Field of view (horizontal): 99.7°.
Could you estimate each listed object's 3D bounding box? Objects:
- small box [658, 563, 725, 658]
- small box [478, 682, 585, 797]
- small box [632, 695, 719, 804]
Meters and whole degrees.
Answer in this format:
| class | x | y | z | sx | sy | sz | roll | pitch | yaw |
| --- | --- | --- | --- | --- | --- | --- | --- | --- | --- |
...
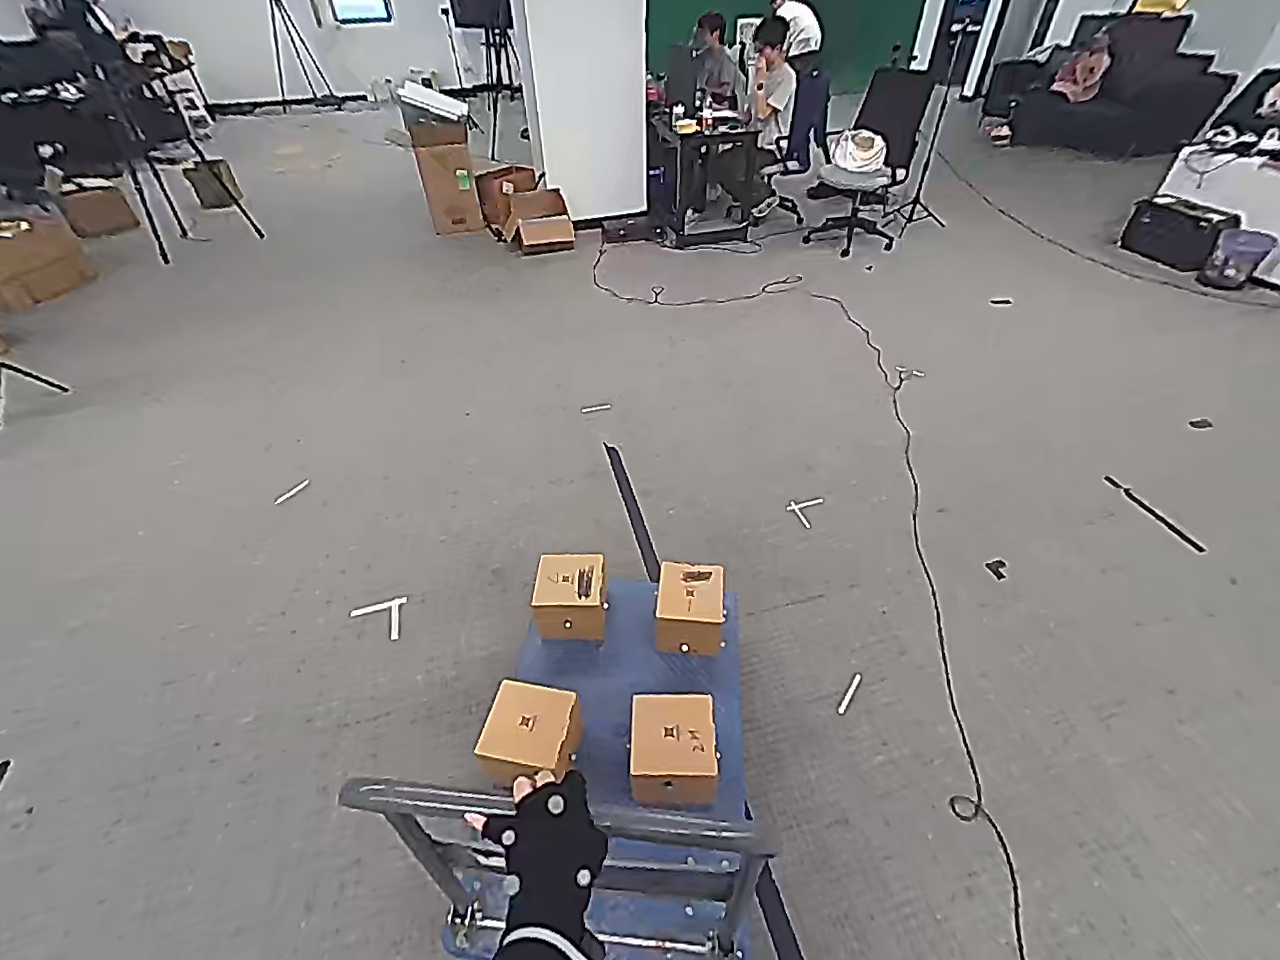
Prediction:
| class | x | y | z | sx | sy | sz | roll | pitch | yaw |
| --- | --- | --- | --- | --- | --- | --- | --- | --- | --- |
| small box | 0.136 | 0.345 | 1.435 | 0.168 | 0.176 | 0.179 | 3 | 44 | 6 |
| small box | -0.230 | 0.577 | 1.199 | 0.179 | 0.176 | 0.168 | 7 | 43 | 8 |
| small box | 0.077 | 0.585 | 1.172 | 0.179 | 0.176 | 0.168 | -1 | 42 | 3 |
